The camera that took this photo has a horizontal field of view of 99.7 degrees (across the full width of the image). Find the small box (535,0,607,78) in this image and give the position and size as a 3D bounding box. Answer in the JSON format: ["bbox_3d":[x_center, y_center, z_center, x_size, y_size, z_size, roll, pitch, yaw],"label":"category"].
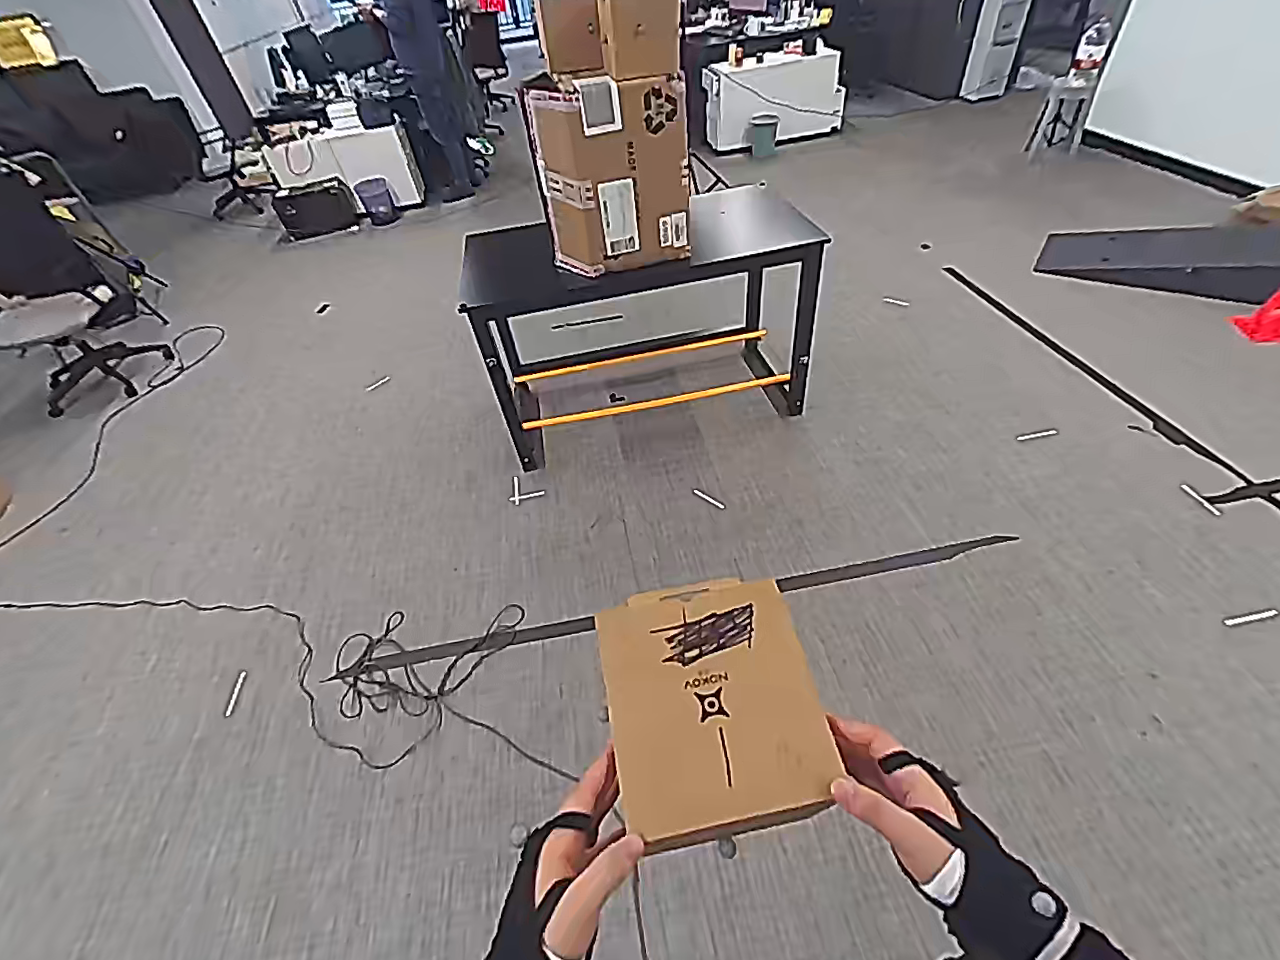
[{"bbox_3d":[-0.193,-1.271,1.545,0.179,0.176,0.168,-13,42,-6],"label":"small box"}]

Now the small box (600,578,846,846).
[{"bbox_3d":[0.060,0.218,0.502,0.168,0.176,0.179,-11,53,-3],"label":"small box"}]

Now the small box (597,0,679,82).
[{"bbox_3d":[-0.002,-1.165,1.415,0.179,0.176,0.168,-13,47,-6],"label":"small box"}]
